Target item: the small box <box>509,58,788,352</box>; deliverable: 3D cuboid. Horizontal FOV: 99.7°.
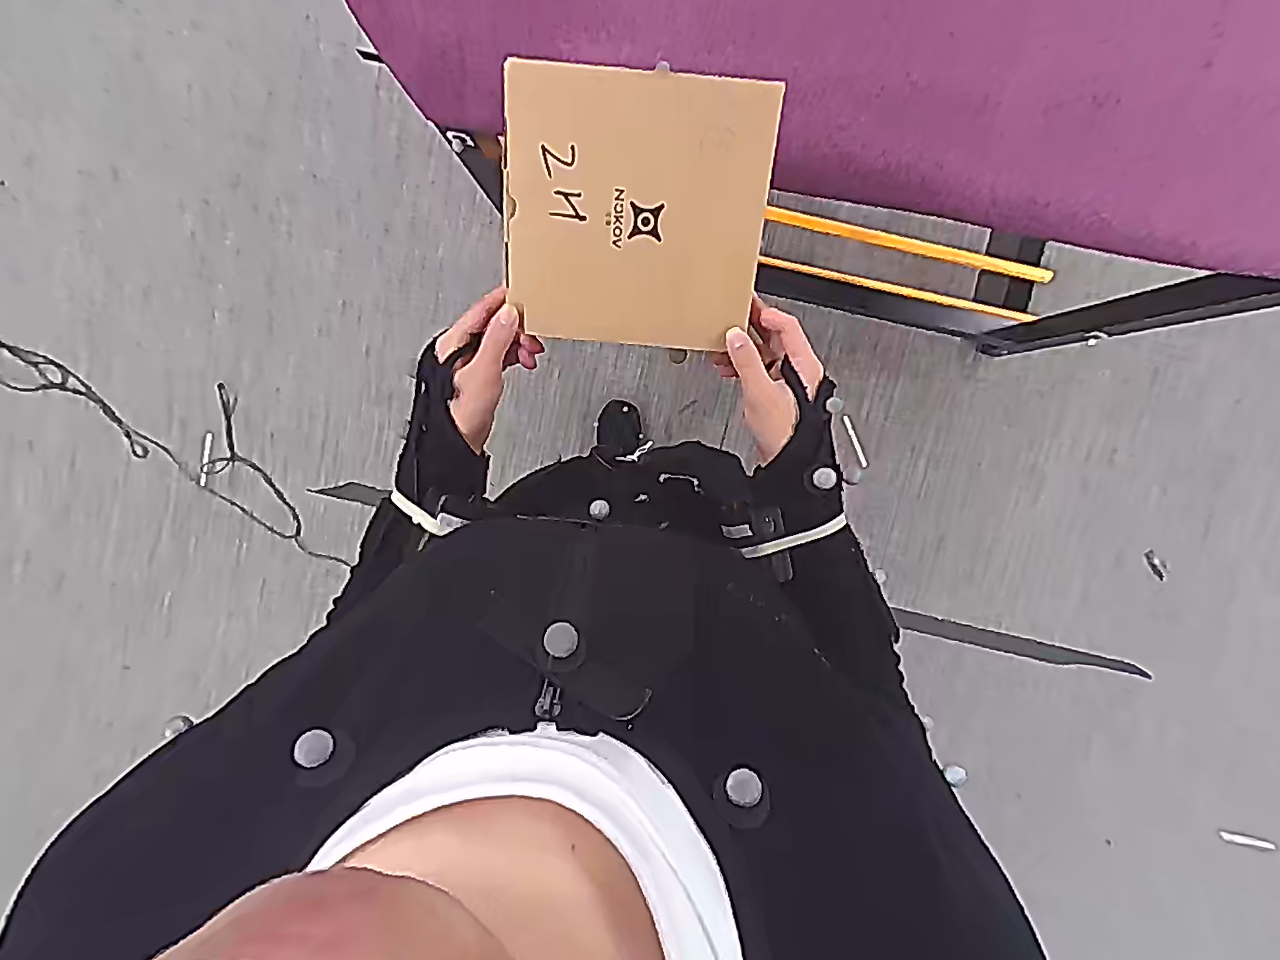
[{"bbox_3d":[0.001,-0.207,0.437,0.179,0.176,0.168,6,112,0],"label":"small box"}]
